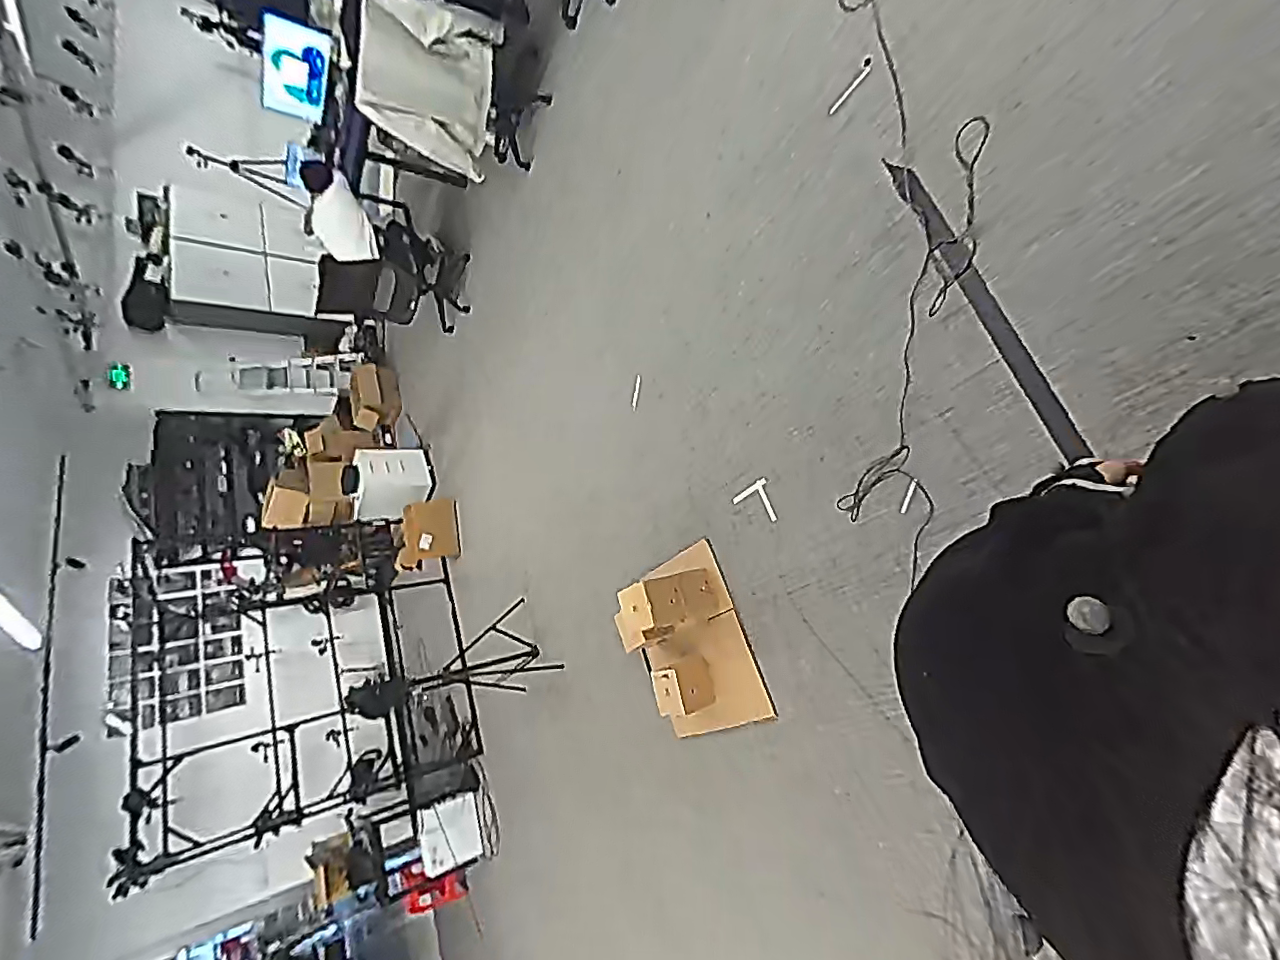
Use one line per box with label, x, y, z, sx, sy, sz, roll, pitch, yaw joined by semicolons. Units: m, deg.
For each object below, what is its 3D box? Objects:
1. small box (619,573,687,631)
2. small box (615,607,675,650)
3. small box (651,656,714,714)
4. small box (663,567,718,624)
small box;0.050;0.462;2.046;0.179;0.176;0.168;-35;65;46
small box;0.022;0.619;2.359;0.168;0.176;0.179;-47;56;44
small box;0.175;0.823;2.172;0.168;0.176;0.179;-28;72;49
small box;0.177;0.457;2.147;0.179;0.176;0.168;-40;63;45
